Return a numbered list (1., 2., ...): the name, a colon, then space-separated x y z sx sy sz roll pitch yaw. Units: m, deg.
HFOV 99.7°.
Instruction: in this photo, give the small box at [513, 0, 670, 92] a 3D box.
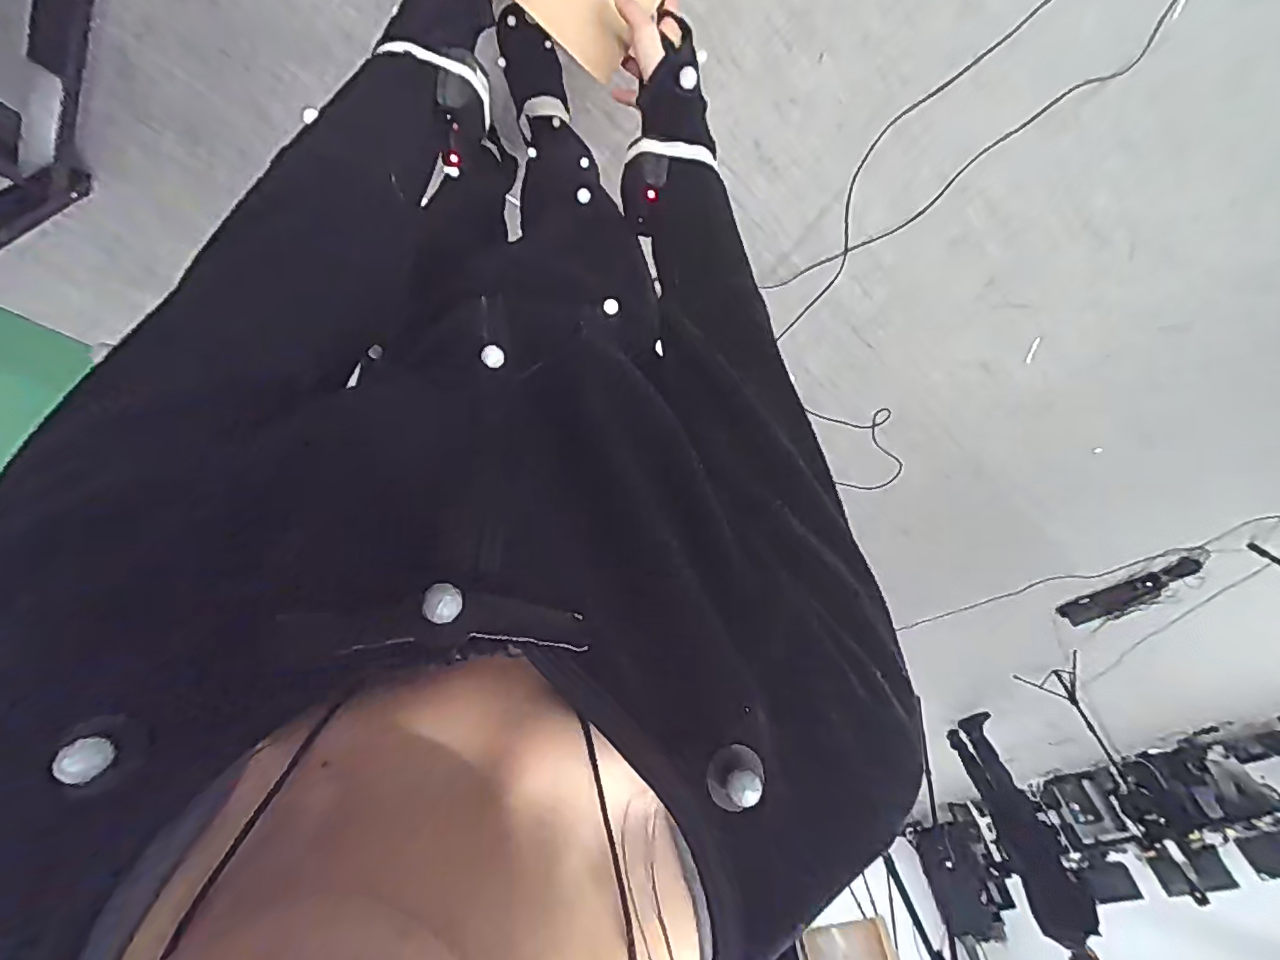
1. small box: -0.047 -0.542 0.534 0.168 0.176 0.179 29 126 -31
